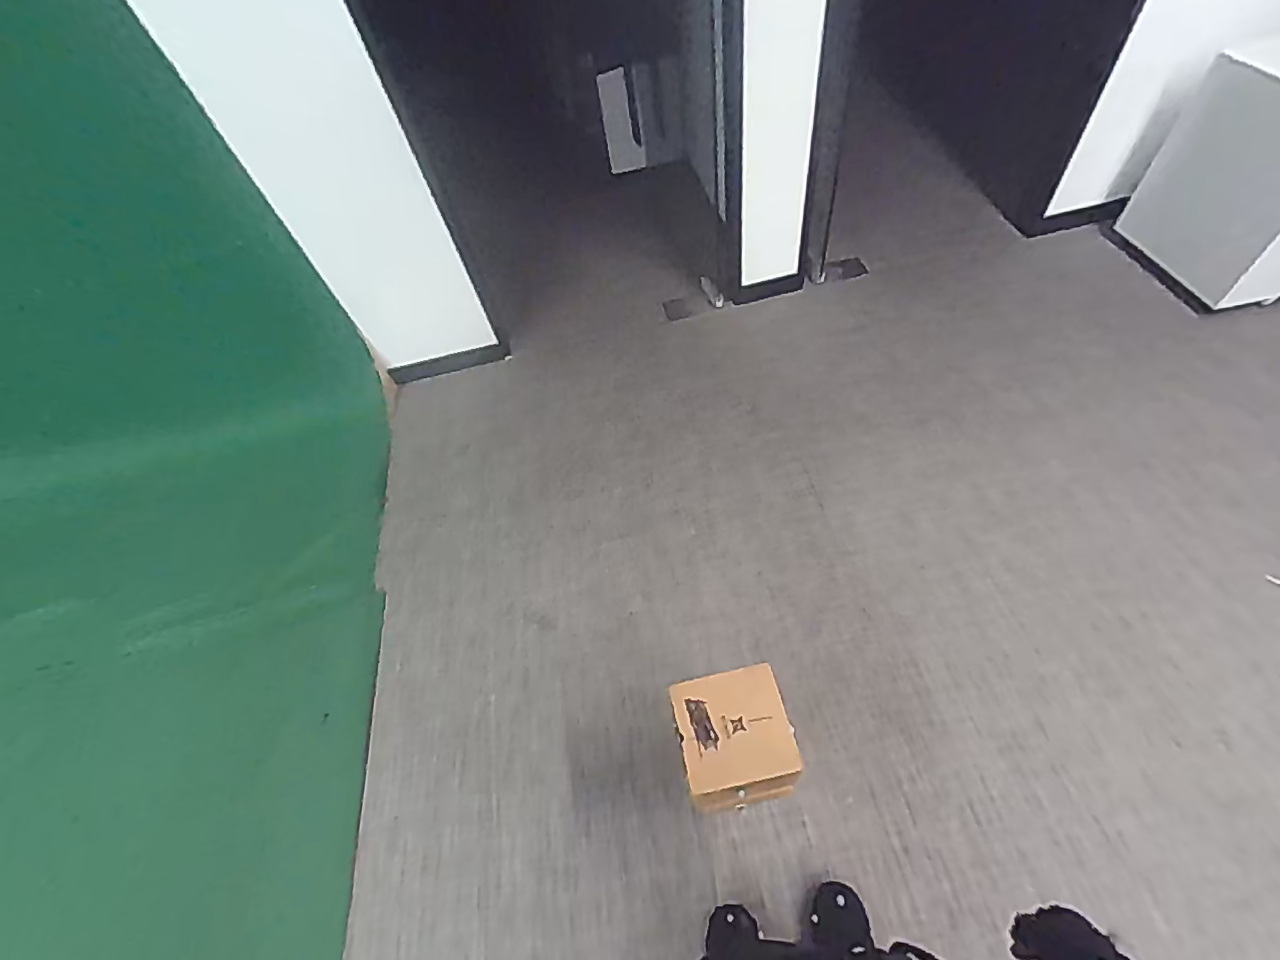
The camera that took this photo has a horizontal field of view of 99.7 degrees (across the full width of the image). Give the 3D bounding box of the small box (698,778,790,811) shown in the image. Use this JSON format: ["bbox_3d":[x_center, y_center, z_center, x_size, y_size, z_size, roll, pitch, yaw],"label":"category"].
[{"bbox_3d":[0.178,0.524,1.049,0.168,0.176,0.179,-14,55,1],"label":"small box"}]

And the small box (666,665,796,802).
[{"bbox_3d":[0.155,0.441,0.930,0.179,0.176,0.168,-13,54,1],"label":"small box"}]
